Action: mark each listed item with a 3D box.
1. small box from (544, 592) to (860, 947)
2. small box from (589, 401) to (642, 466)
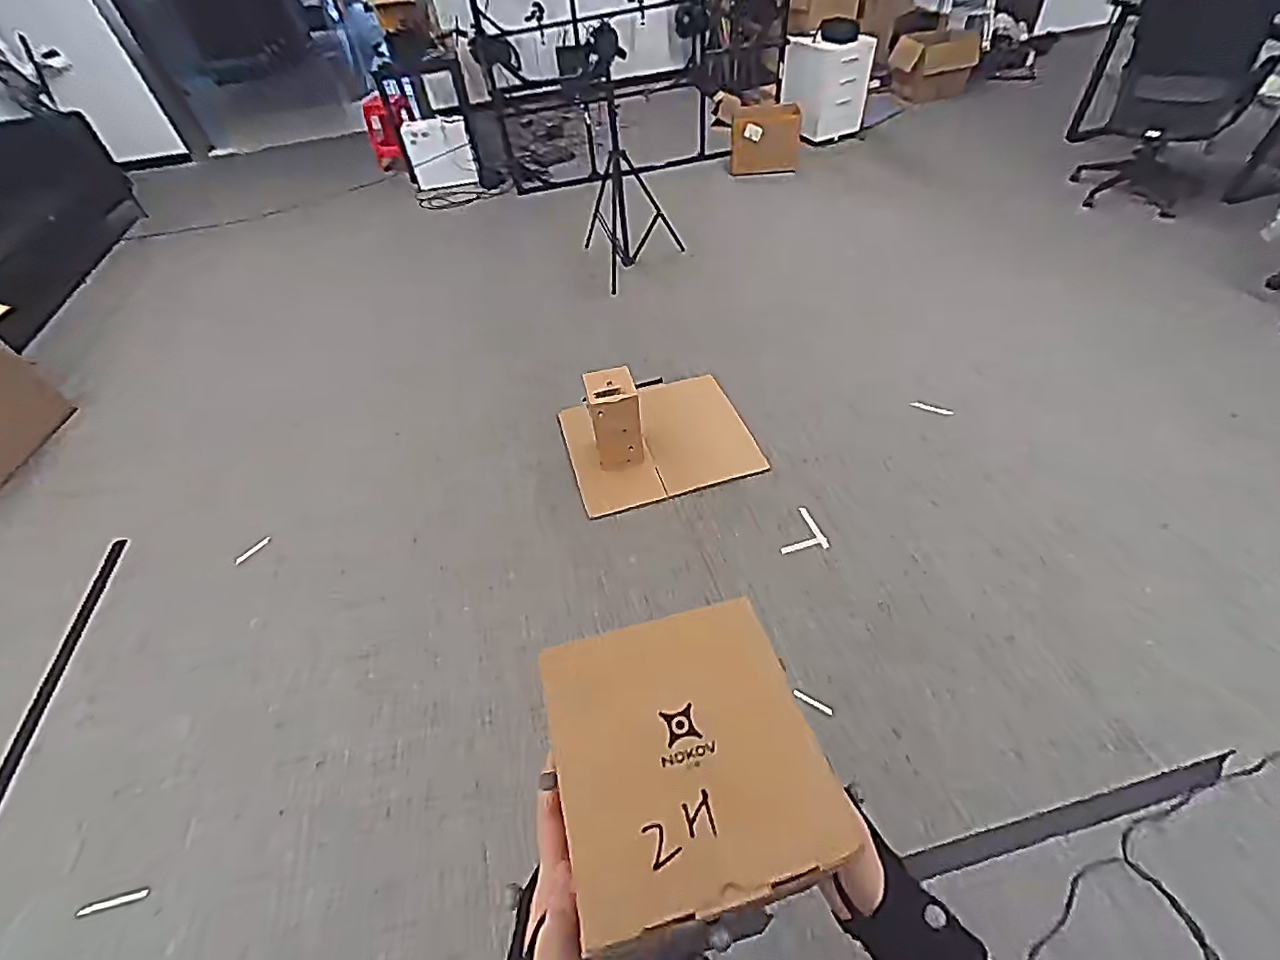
[{"bbox_3d":[0.028,0.217,0.410,0.168,0.176,0.179,-12,48,-10],"label":"small box"},{"bbox_3d":[-0.092,-0.168,2.048,0.168,0.176,0.179,-11,48,-6],"label":"small box"}]
